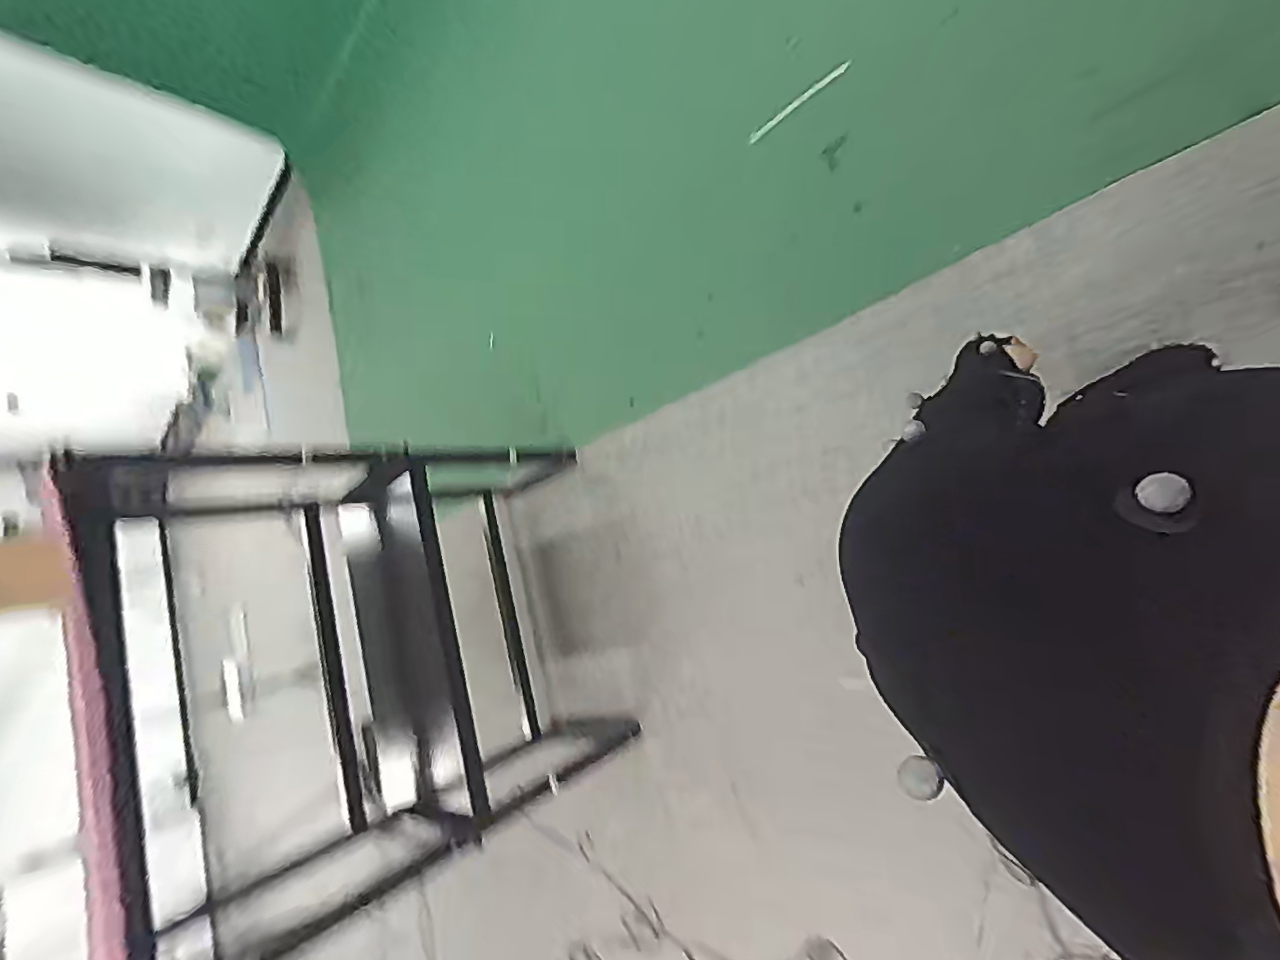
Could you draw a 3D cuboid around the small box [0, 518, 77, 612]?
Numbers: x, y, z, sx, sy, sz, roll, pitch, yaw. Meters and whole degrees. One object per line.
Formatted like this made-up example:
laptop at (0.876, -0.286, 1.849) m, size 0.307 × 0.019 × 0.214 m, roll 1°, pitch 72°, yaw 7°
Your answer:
small box at (-1.313, 0.183, 1.137) m, size 0.168 × 0.176 × 0.179 m, roll -13°, pitch 85°, yaw 42°
